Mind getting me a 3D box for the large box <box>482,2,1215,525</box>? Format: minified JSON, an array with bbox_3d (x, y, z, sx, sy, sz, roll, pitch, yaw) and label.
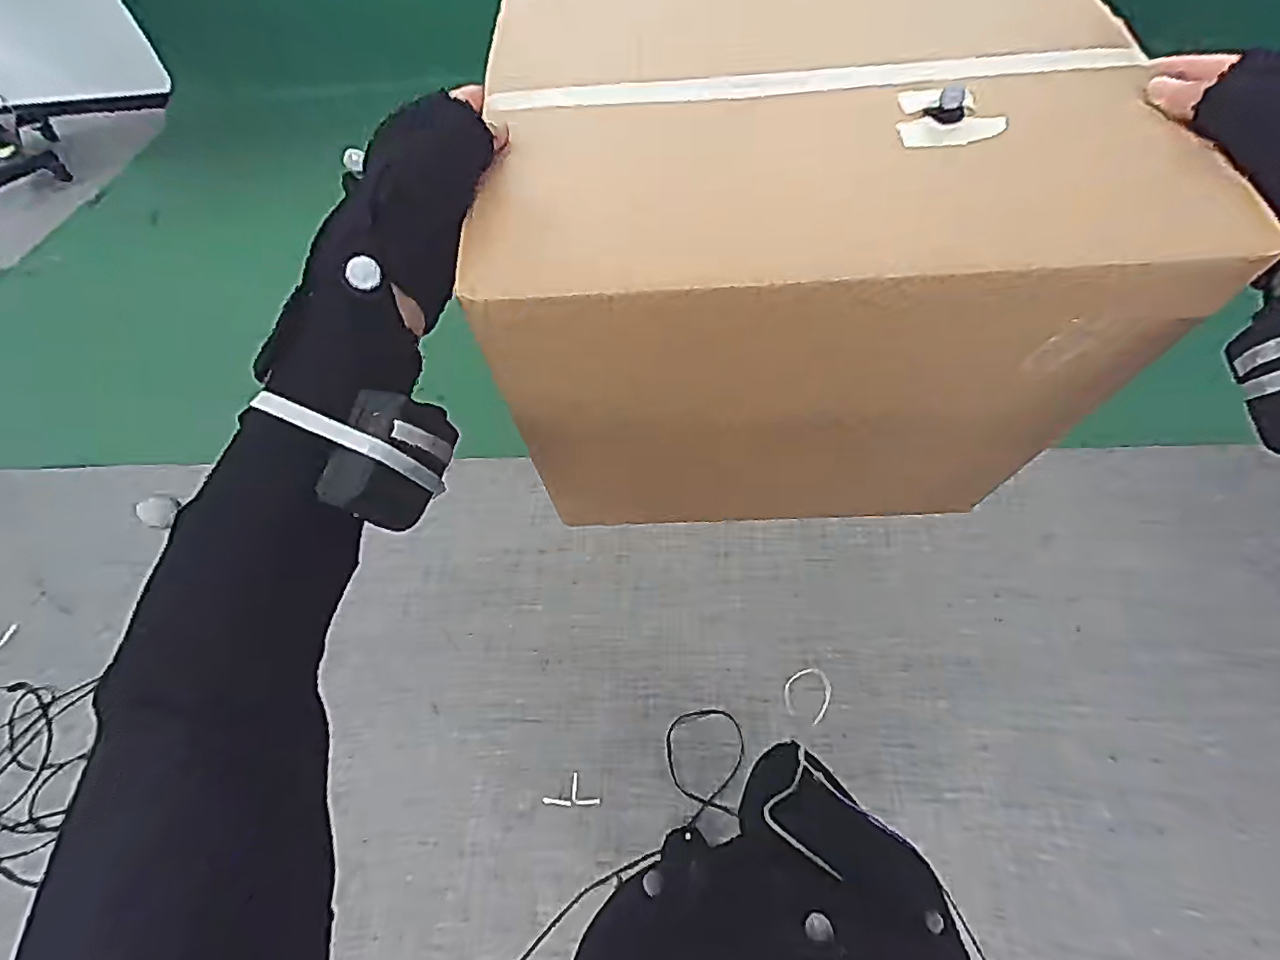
[{"bbox_3d":[0.109,-0.164,0.489,0.408,0.320,0.320,-2,63,1],"label":"large box"}]
